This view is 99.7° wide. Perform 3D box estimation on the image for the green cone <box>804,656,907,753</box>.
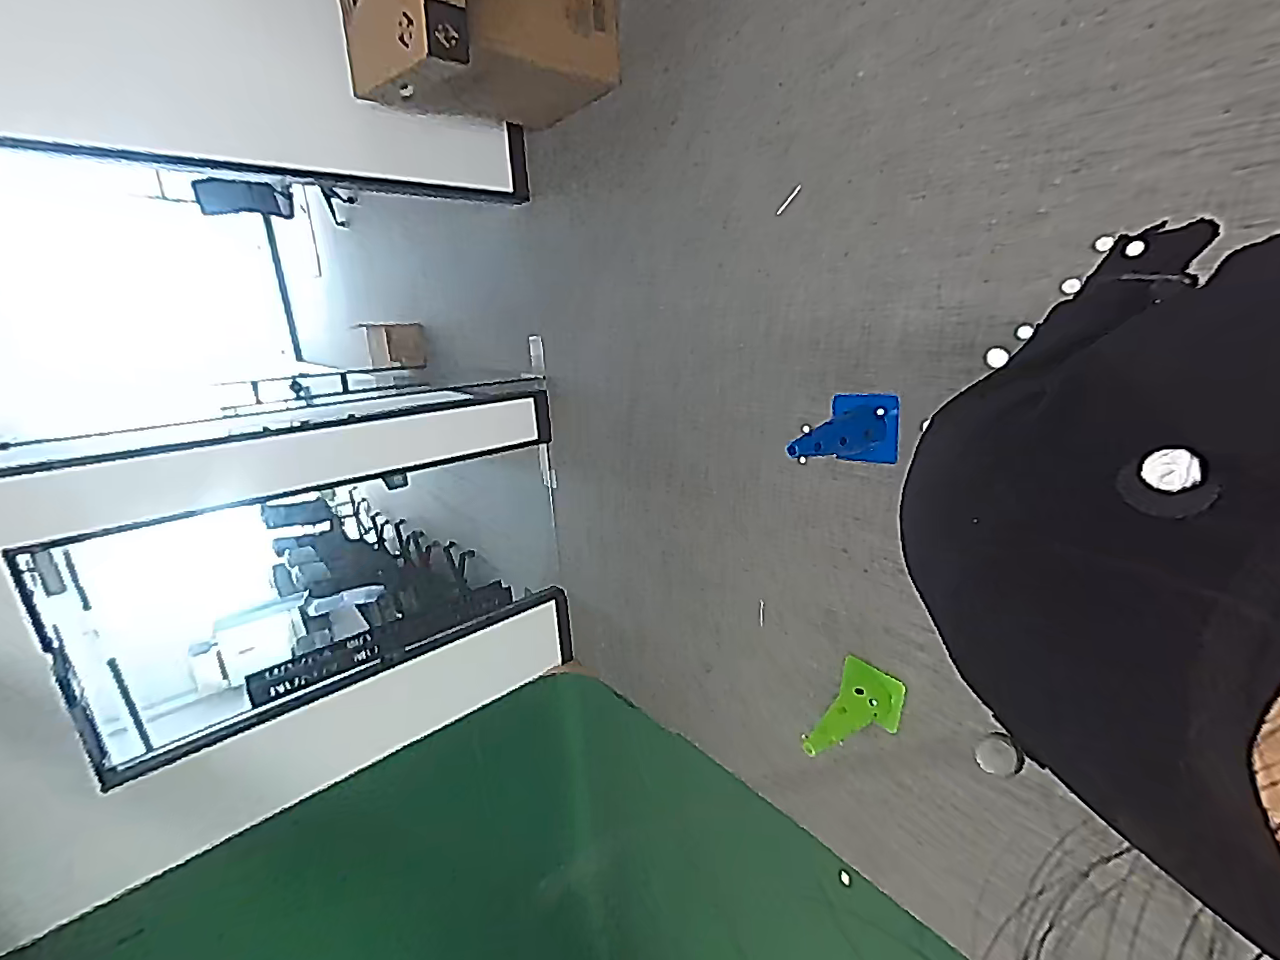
[{"bbox_3d":[0.620,0.726,1.639,0.200,0.368,0.202,21,118,46],"label":"green cone"}]
